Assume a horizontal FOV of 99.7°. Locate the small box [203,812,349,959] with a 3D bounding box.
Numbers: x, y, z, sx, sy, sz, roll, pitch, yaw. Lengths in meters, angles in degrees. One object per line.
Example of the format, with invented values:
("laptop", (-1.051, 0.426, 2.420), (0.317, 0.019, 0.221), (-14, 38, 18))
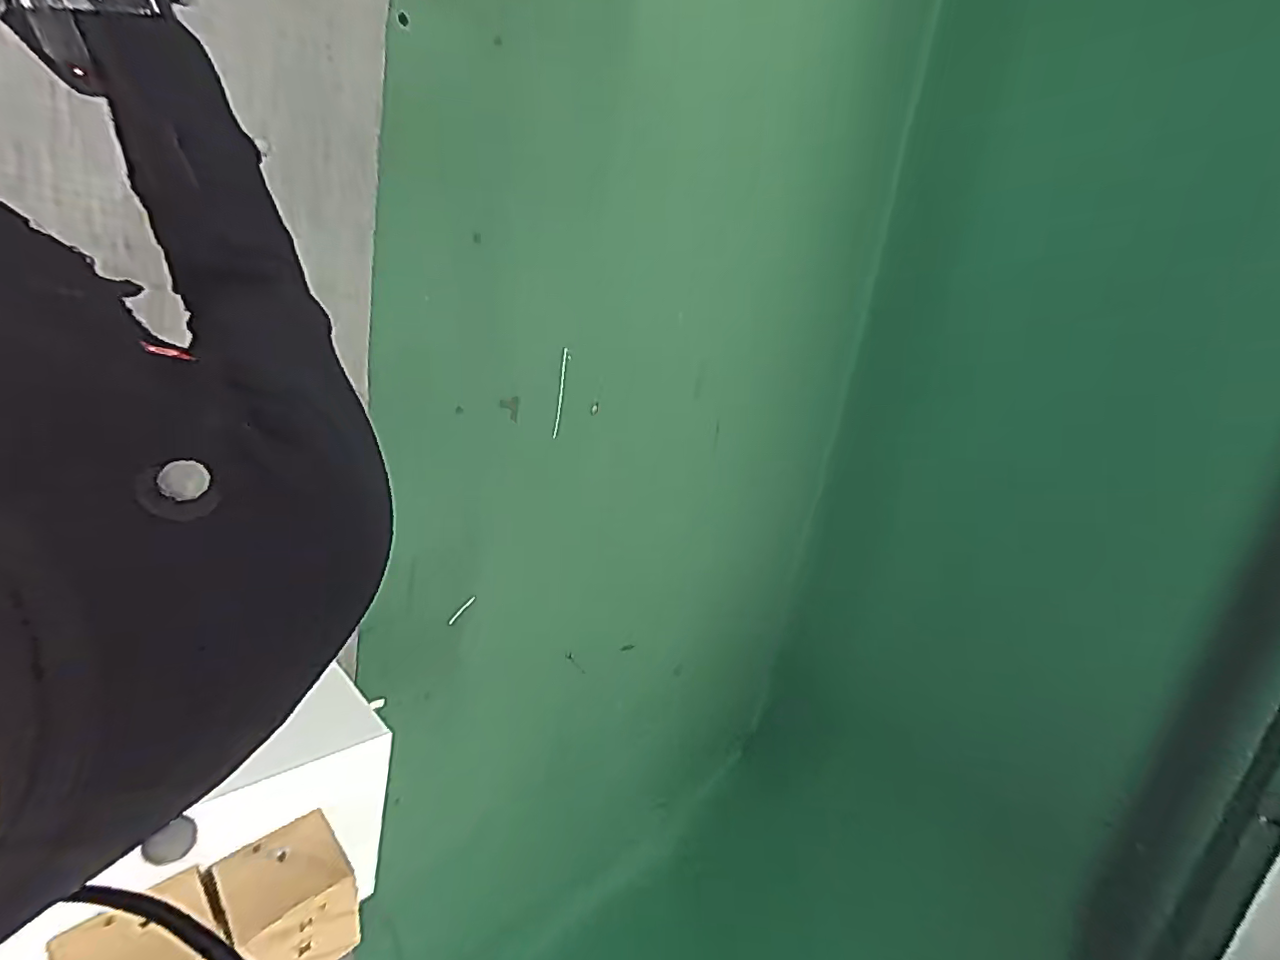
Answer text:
("small box", (-0.610, 0.716, 0.911), (0.168, 0.176, 0.179), (-12, 116, -47))
